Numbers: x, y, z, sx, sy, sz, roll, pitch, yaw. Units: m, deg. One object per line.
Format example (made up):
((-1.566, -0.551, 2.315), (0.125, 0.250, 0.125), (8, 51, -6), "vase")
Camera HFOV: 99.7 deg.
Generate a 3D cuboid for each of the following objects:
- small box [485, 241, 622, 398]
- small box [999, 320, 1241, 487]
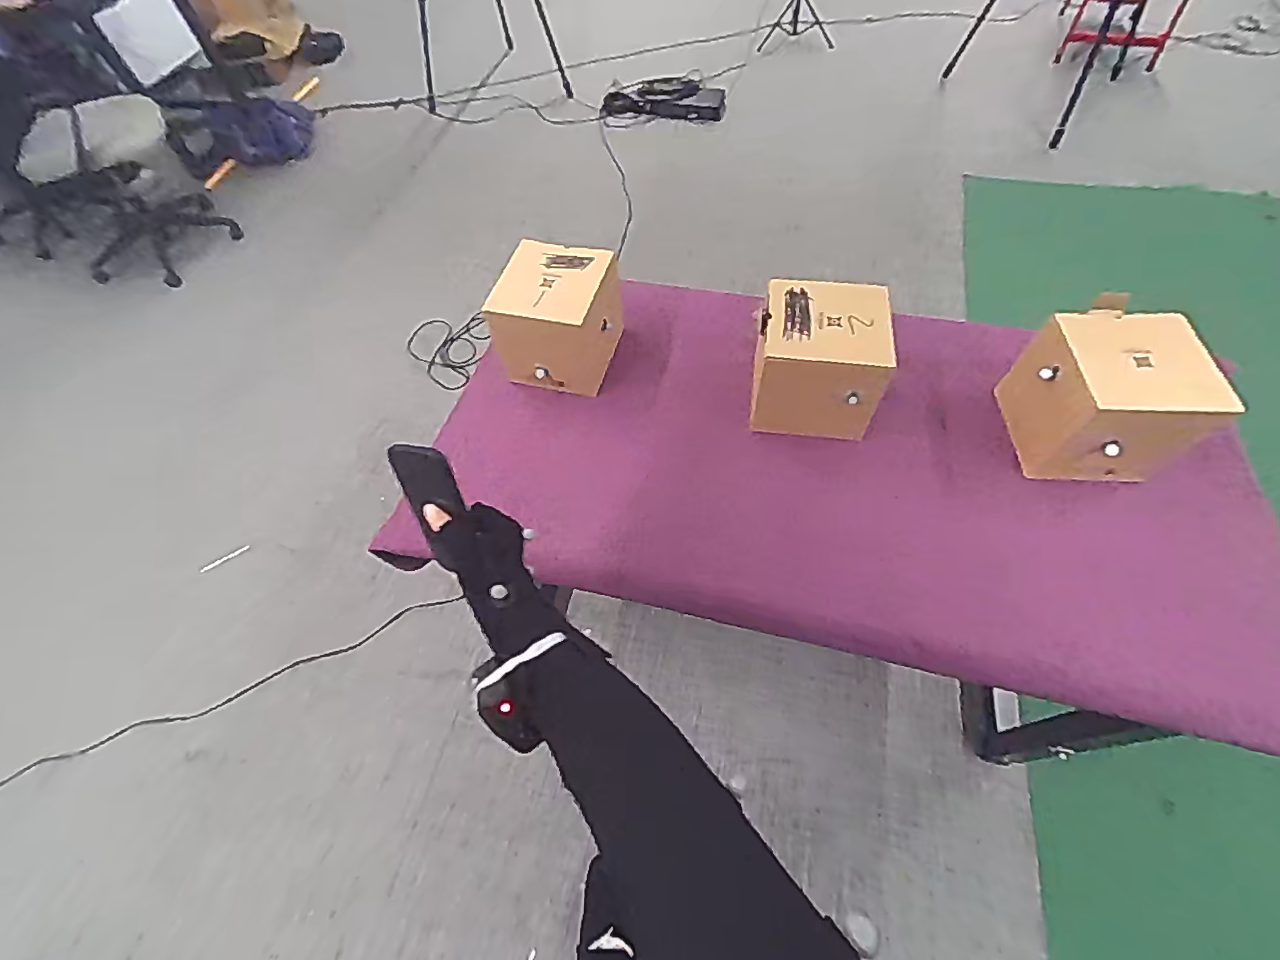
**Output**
((-0.132, -0.269, 0.915), (0.168, 0.176, 0.179), (12, 61, 11), "small box")
((0.650, -0.103, 0.764), (0.168, 0.176, 0.179), (2, 57, 6), "small box")
